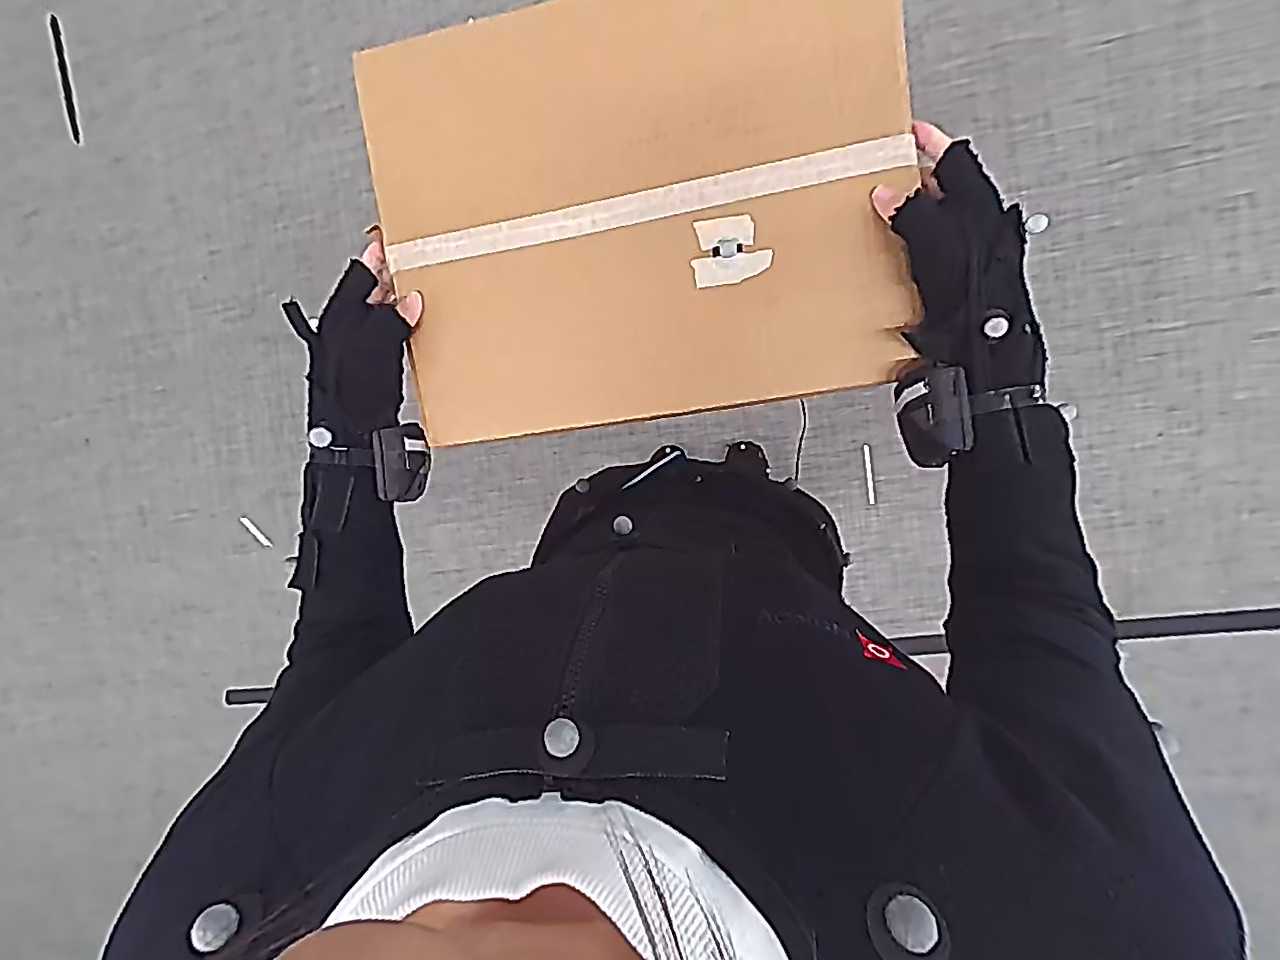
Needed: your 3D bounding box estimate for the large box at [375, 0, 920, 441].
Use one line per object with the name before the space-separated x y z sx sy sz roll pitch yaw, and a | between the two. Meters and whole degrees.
large box | 0.016 -0.229 0.573 0.408 0.320 0.320 -7 97 8
